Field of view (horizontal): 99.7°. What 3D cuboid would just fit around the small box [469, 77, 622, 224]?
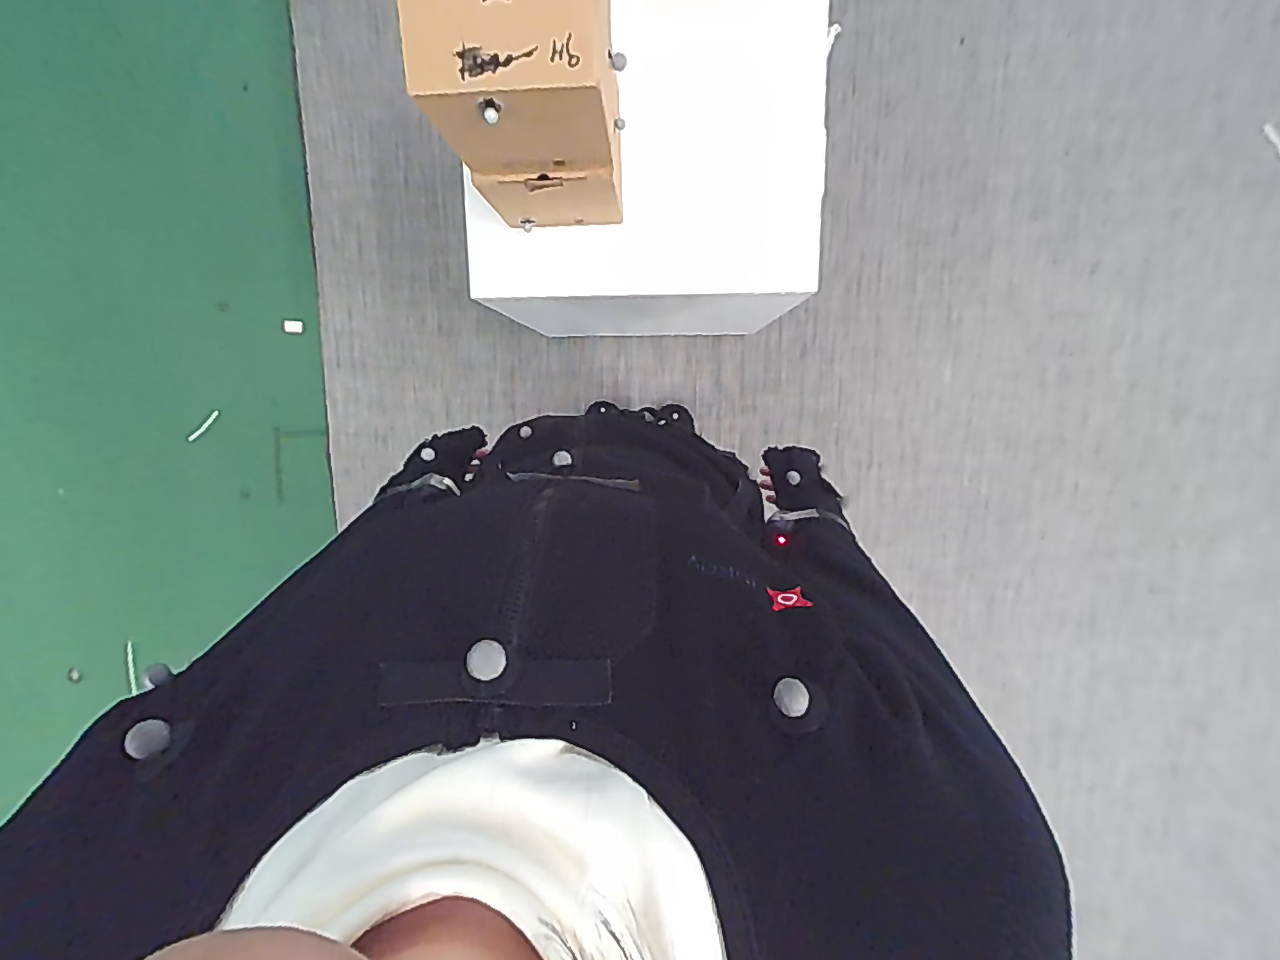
[{"bbox_3d":[-0.112,-0.440,0.689,0.168,0.176,0.179,-1,98,2],"label":"small box"}]

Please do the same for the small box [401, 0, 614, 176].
[{"bbox_3d":[-0.115,-0.425,0.526,0.168,0.176,0.179,-1,98,3],"label":"small box"}]
